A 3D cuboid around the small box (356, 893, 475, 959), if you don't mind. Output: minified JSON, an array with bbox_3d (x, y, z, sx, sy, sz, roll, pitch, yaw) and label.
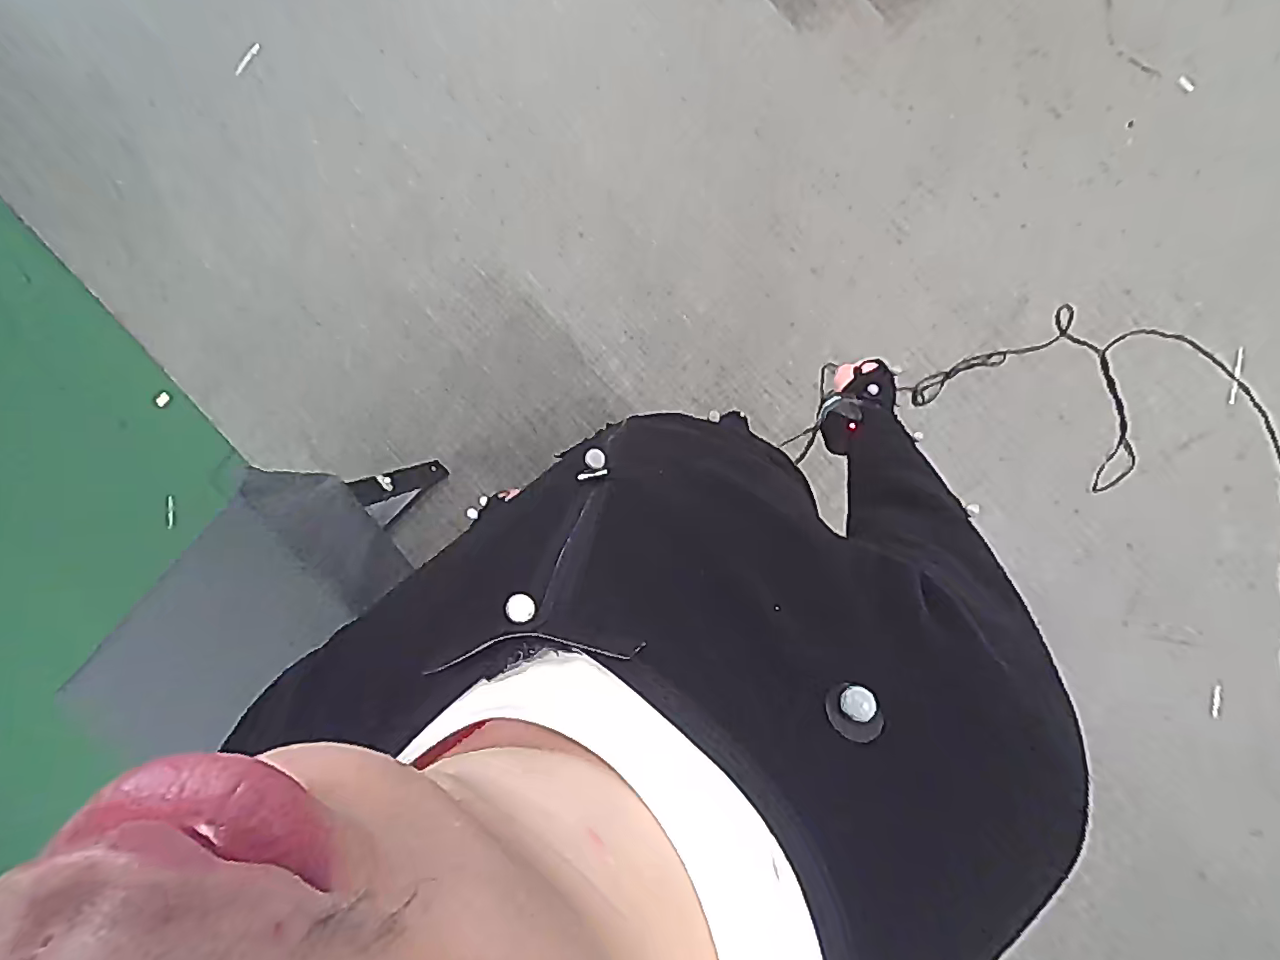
[{"bbox_3d":[-0.414,0.884,0.943,0.168,0.176,0.179,42,101,-2],"label":"small box"}]
